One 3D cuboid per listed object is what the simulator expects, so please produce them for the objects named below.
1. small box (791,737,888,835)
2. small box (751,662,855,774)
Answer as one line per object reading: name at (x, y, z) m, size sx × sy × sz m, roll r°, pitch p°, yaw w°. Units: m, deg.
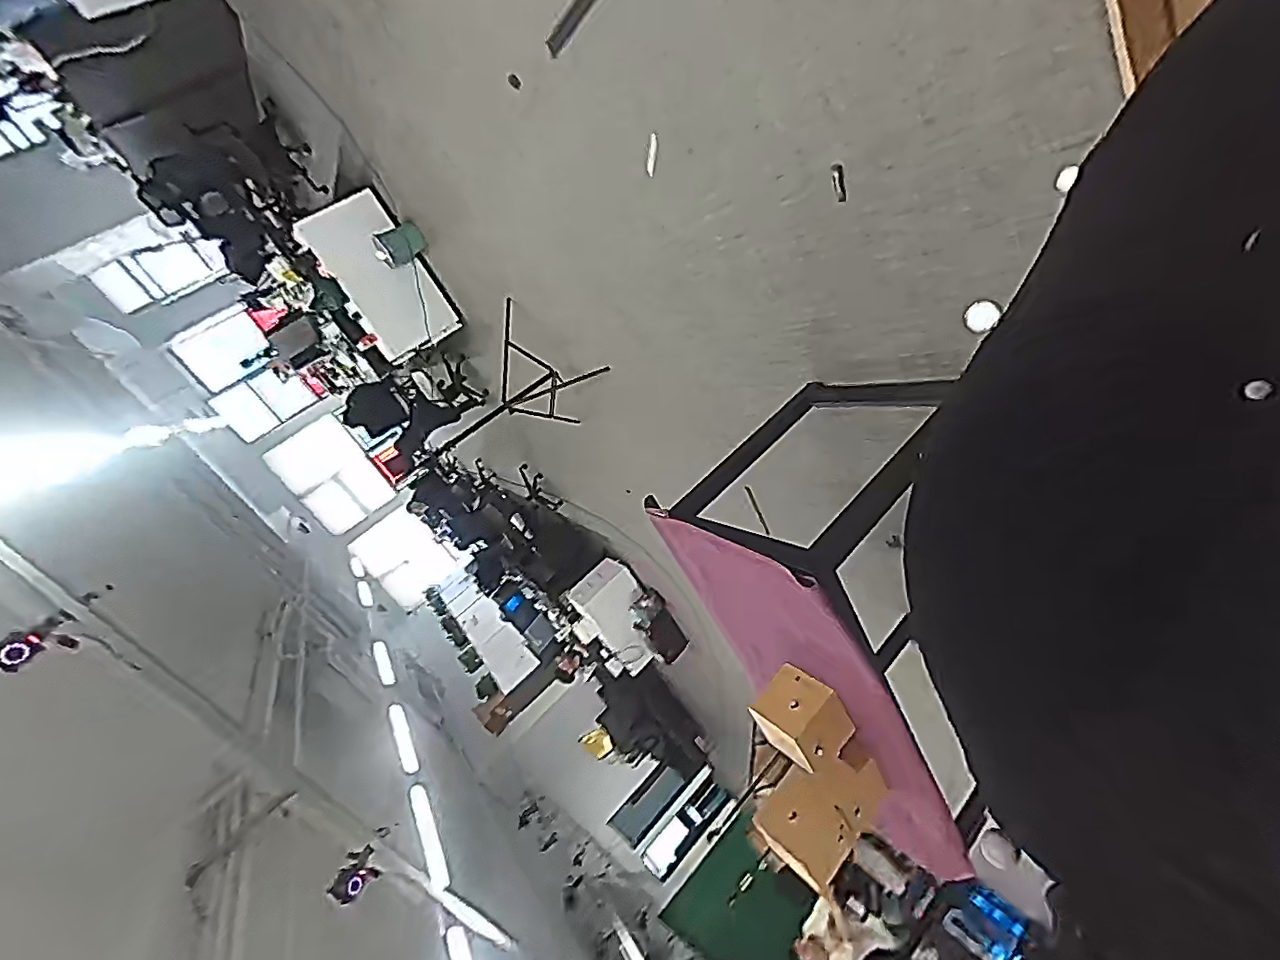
small box at (0.567, 0.840, 1.527) m, size 0.168 × 0.176 × 0.179 m, roll 14°, pitch 139°, yaw 58°
small box at (0.429, 0.614, 1.419) m, size 0.168 × 0.176 × 0.179 m, roll 15°, pitch 141°, yaw 58°
